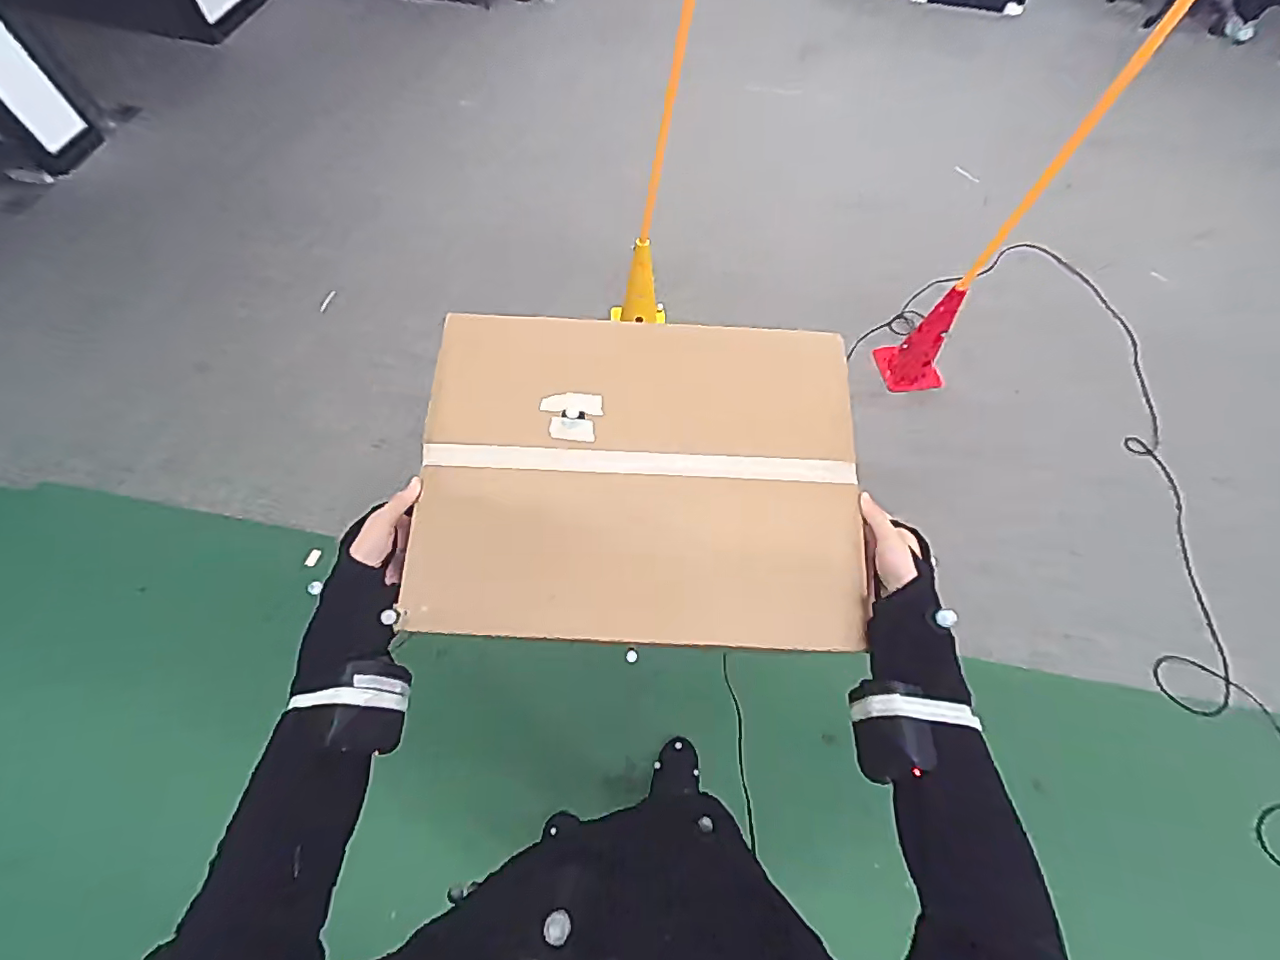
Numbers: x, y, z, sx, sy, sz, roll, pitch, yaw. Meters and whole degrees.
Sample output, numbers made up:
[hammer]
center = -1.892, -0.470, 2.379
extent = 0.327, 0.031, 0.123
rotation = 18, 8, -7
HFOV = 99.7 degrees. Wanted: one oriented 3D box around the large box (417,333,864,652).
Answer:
[large box]
center = 0.006, 0.041, 0.661
extent = 0.408, 0.320, 0.320
rotation = 3, 71, 0
